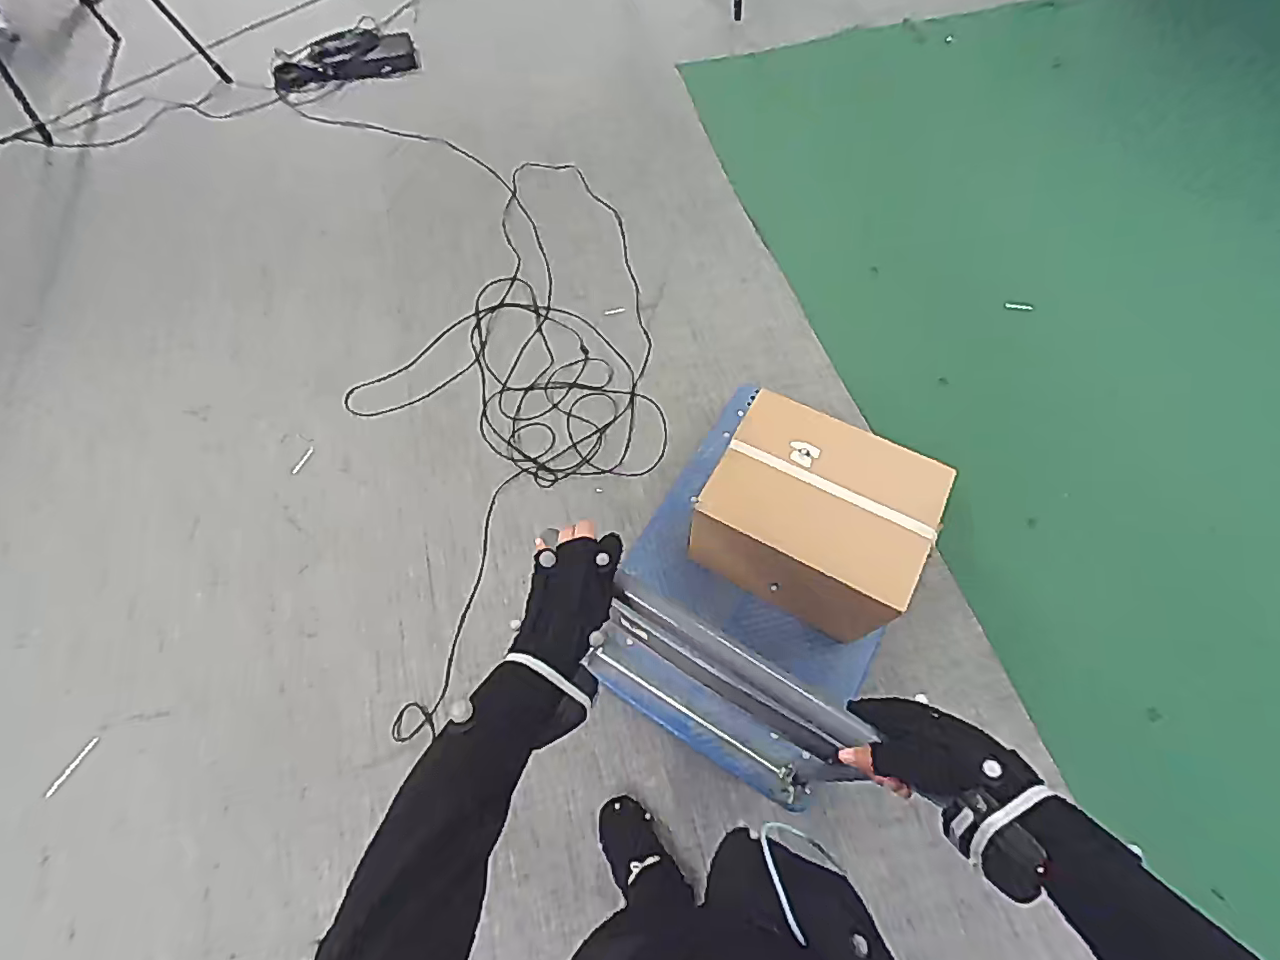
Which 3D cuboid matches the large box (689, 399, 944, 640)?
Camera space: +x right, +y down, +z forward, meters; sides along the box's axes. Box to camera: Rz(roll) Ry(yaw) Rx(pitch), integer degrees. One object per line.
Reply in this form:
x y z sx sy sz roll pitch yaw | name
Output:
0.351 0.095 1.168 0.408 0.320 0.320 26 67 15 | large box
